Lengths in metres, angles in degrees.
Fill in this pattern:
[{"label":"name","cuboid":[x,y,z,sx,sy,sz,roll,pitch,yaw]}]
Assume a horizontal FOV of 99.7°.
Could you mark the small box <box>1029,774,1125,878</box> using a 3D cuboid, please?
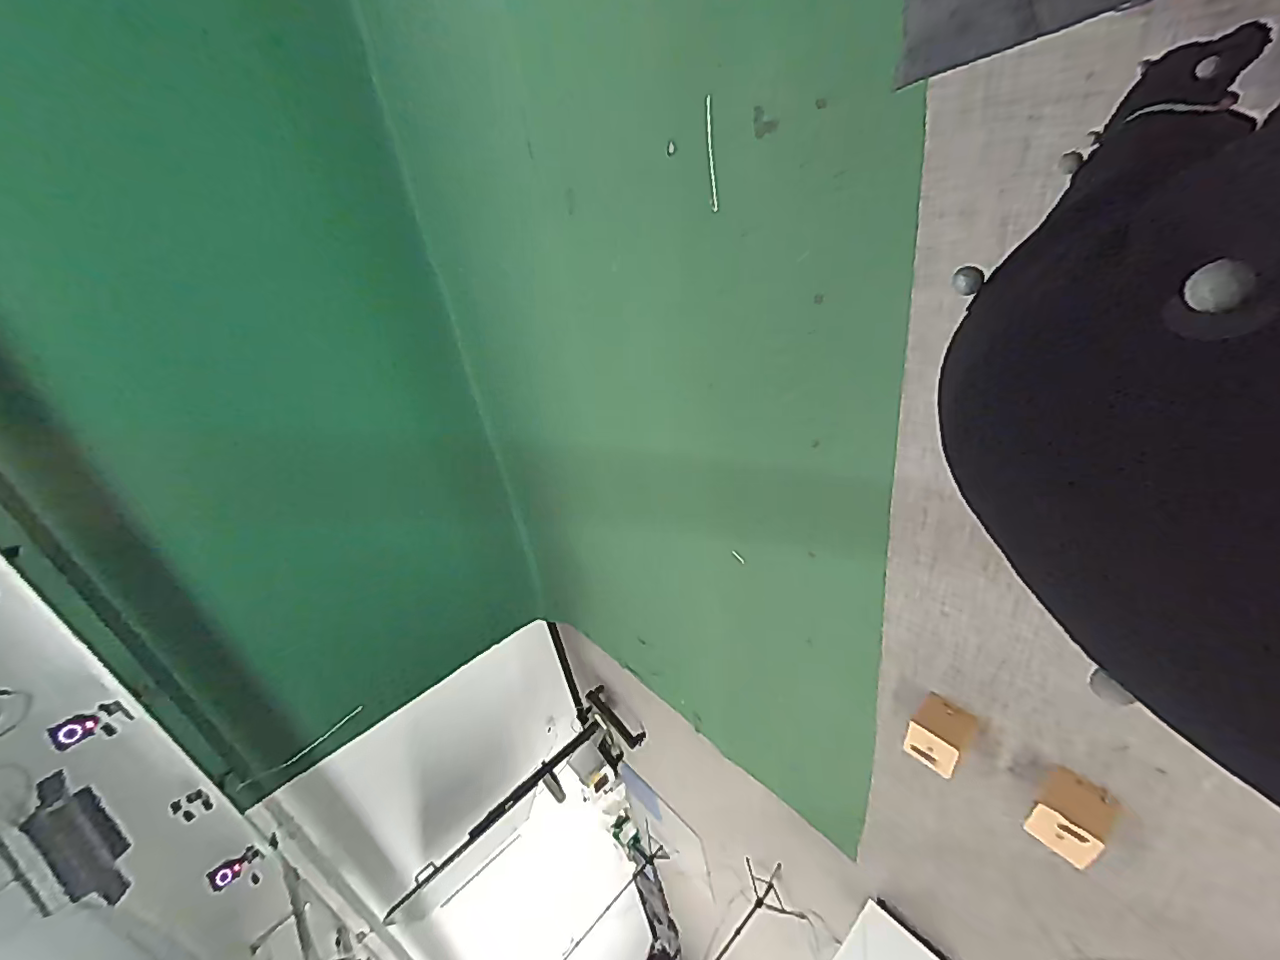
[{"label":"small box","cuboid":[1.333,1.047,1.648,0.168,0.176,0.179,30,138,41]}]
